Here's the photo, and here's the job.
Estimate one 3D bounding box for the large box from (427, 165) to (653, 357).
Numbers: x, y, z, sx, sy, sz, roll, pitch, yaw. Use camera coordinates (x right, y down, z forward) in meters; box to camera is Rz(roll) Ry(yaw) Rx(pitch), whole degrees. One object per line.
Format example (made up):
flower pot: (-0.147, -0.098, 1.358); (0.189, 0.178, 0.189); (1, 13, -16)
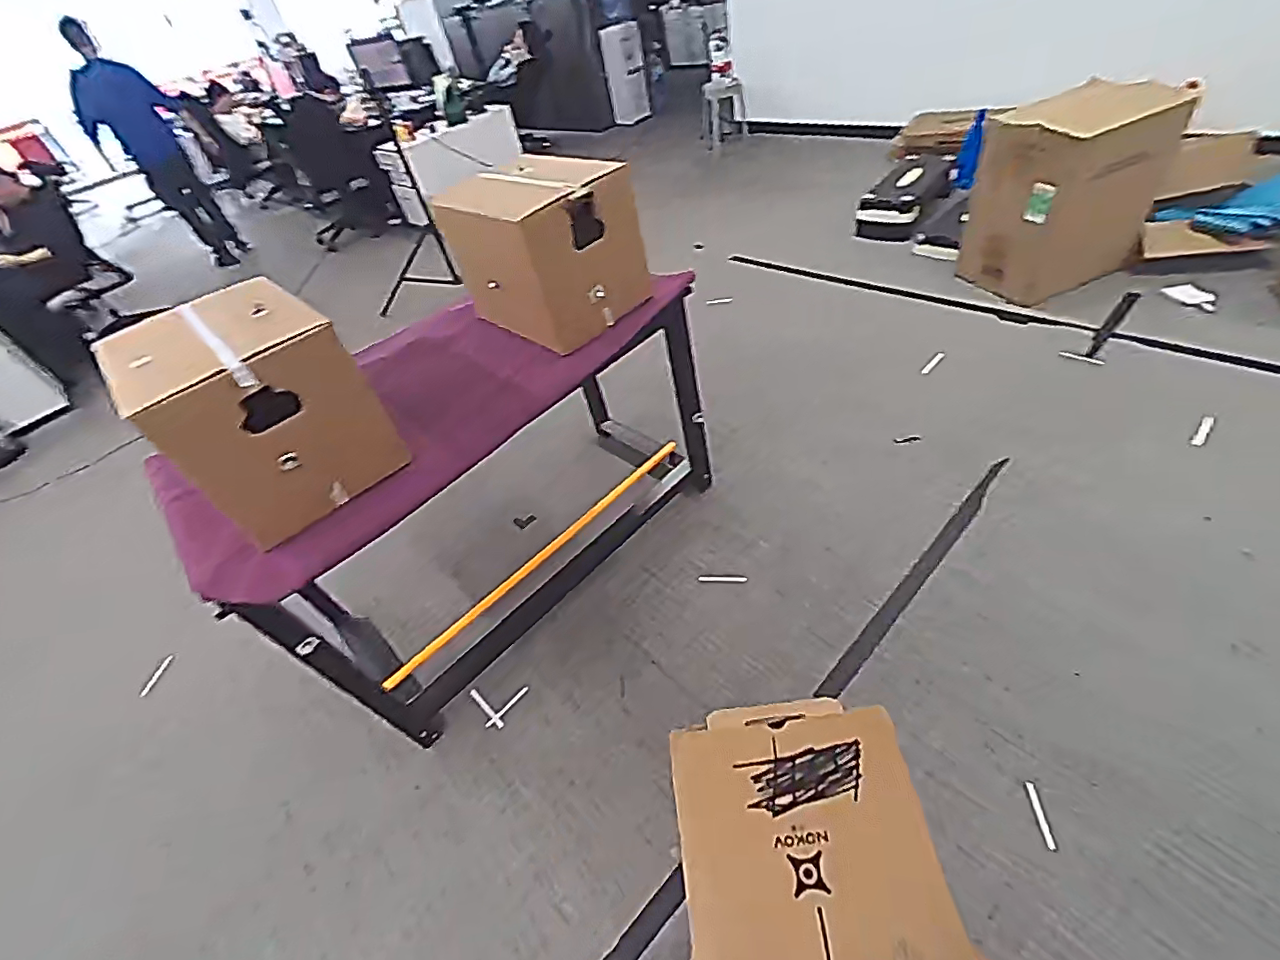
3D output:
large box: (-0.235, -0.547, 1.330); (0.408, 0.320, 0.320); (29, 59, 37)

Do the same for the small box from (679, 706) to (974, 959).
small box: (0.124, 0.295, 0.420); (0.168, 0.176, 0.179); (-9, 53, 5)
